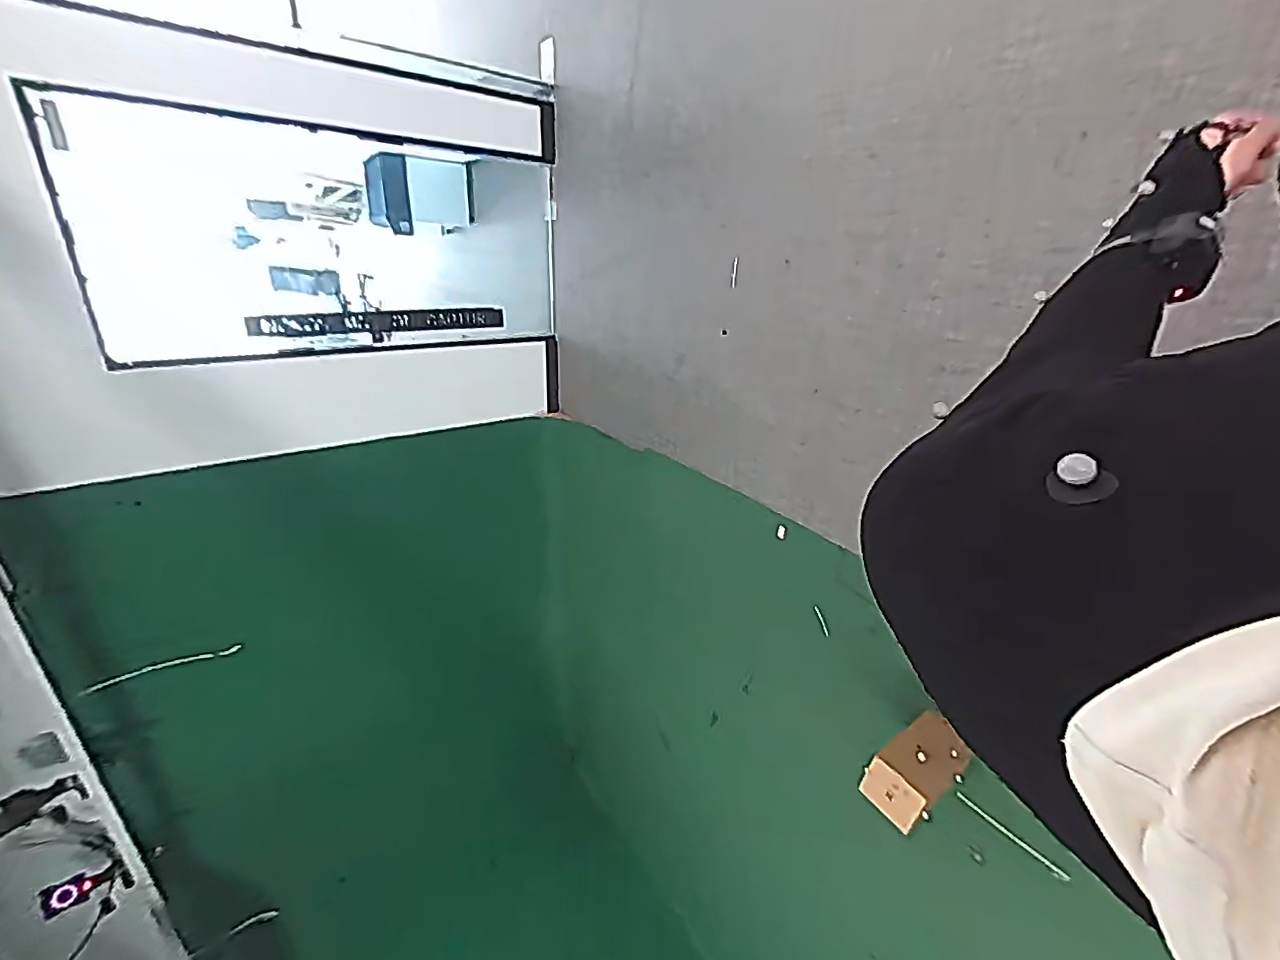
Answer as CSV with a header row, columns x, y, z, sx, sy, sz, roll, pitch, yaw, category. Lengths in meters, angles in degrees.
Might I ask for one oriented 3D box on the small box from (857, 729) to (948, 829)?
x,y,z,sx,sy,sz,roll,pitch,yaw,category
0.805,0.909,1.655,0.168,0.176,0.179,37,130,42,small box
